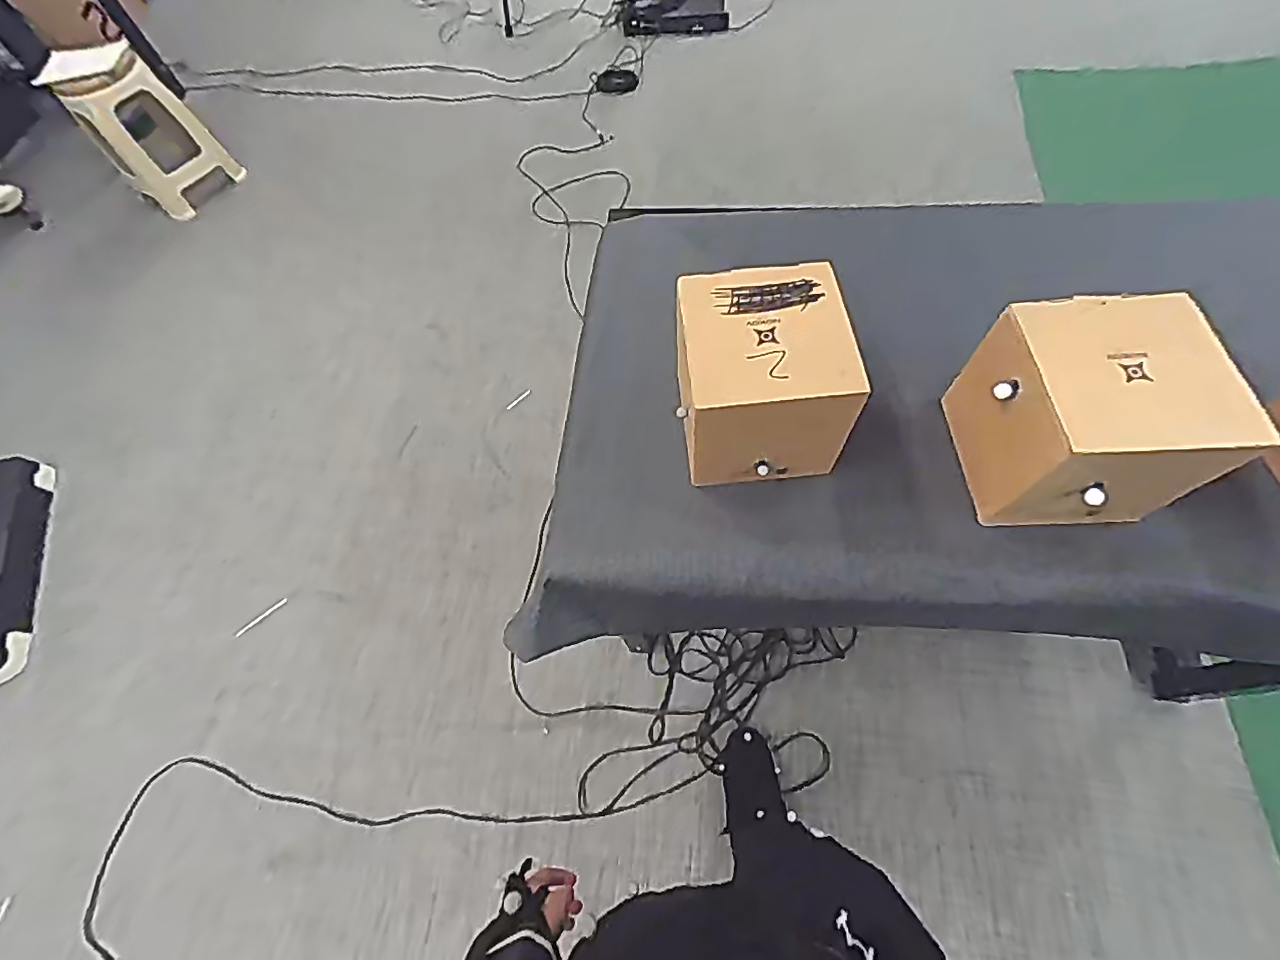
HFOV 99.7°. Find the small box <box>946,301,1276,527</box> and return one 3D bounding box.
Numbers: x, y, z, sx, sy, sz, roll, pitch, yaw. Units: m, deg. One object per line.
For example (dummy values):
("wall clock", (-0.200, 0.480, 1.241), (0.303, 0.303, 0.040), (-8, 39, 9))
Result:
("small box", (0.451, -0.056, 0.560), (0.168, 0.176, 0.179), (-2, 61, 4))
